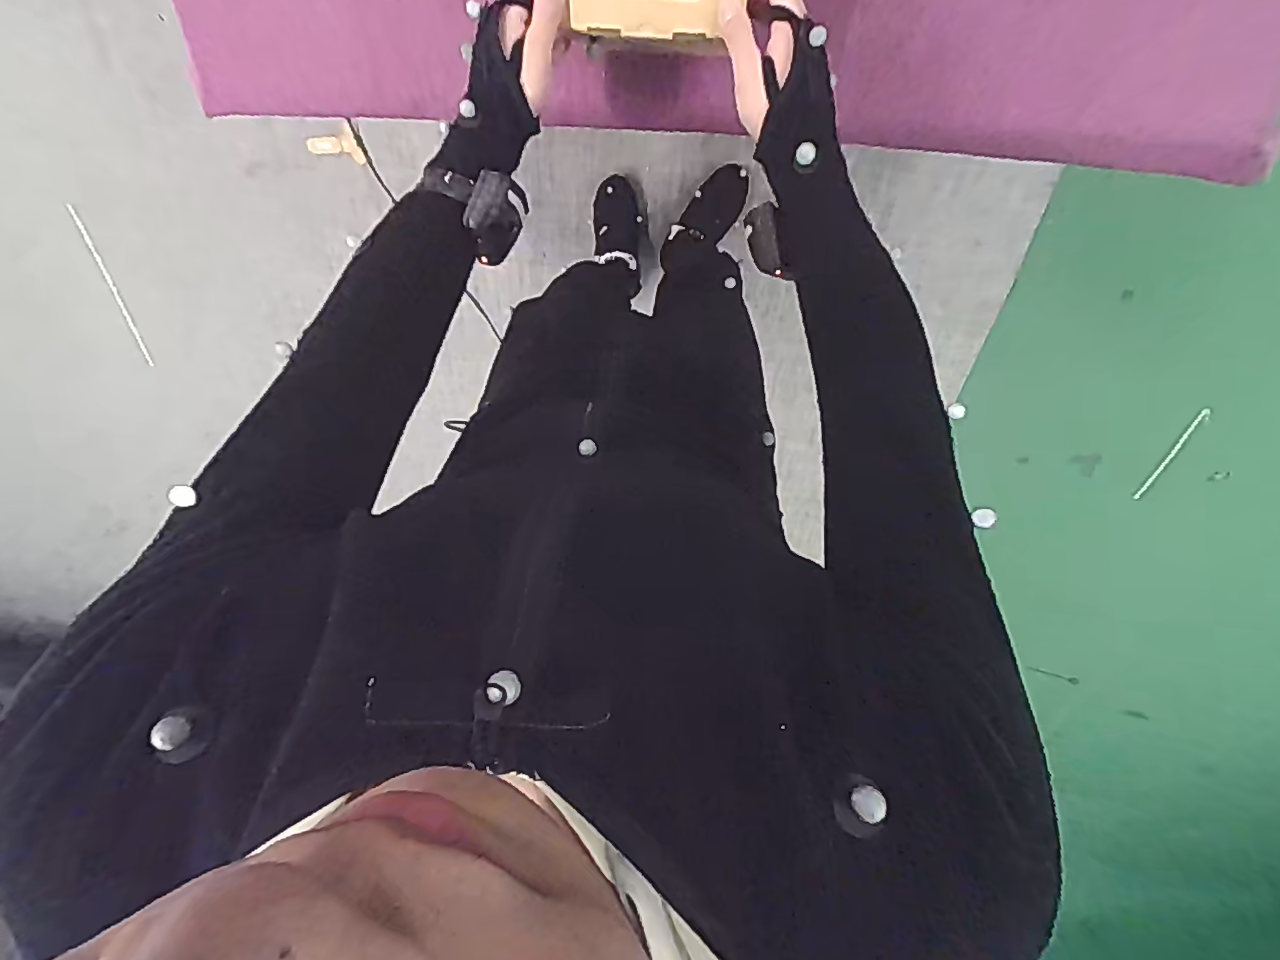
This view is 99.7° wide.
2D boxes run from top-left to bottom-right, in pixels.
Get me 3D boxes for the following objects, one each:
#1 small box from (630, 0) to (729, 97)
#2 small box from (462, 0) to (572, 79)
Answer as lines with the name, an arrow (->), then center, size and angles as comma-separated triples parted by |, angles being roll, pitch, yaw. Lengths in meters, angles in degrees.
small box -> 0.080, -0.876, 1.083 | 0.179, 0.176, 0.168 | 7, 125, 4
small box -> -0.242, -0.922, 1.095 | 0.179, 0.176, 0.168 | 6, 126, 3
